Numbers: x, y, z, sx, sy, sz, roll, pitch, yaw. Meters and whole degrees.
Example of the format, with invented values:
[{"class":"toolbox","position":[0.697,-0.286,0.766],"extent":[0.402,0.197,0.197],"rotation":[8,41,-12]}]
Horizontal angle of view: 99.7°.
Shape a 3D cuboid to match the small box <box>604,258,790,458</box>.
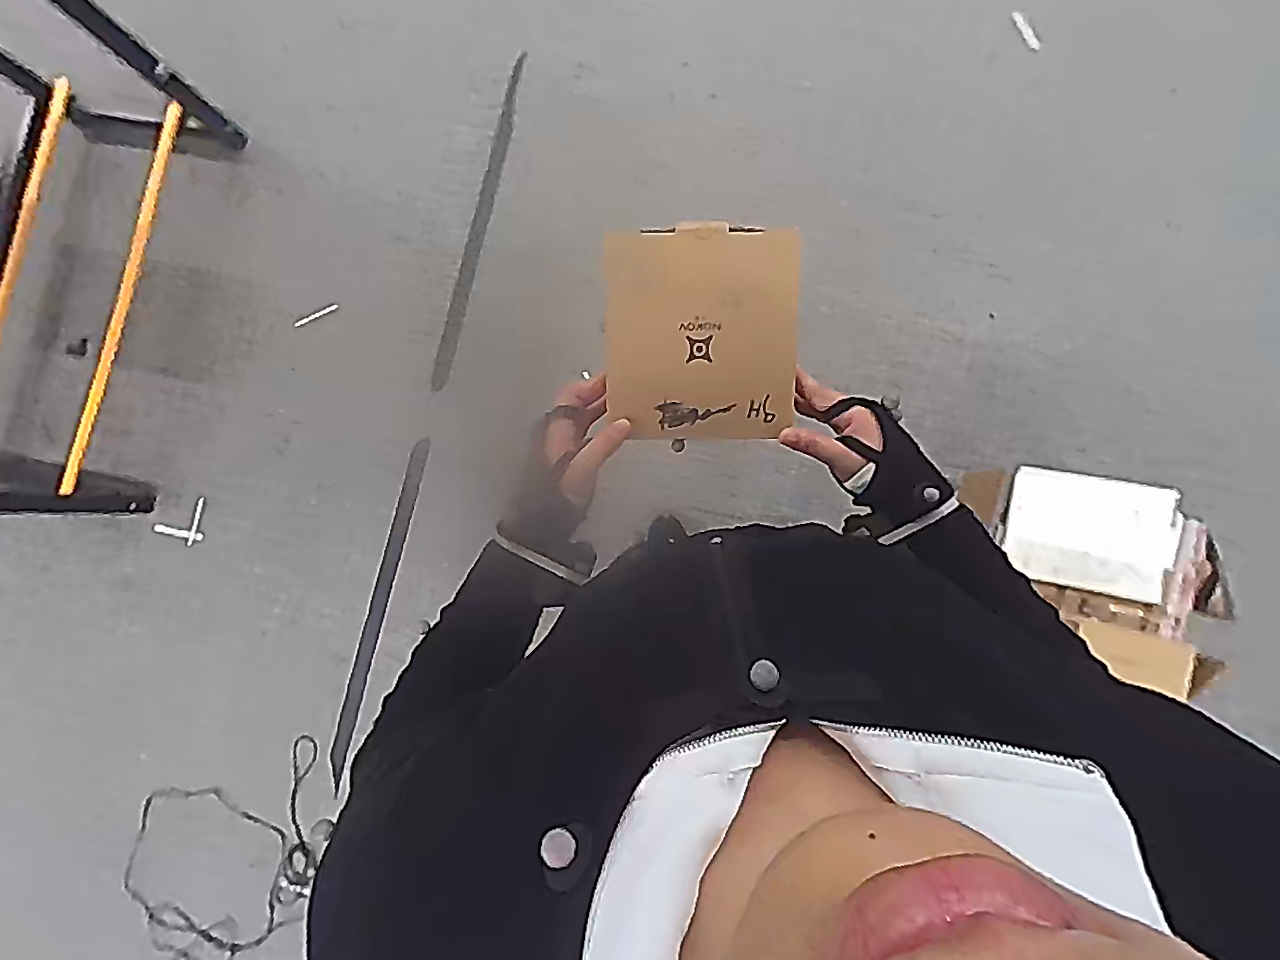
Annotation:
[{"class":"small box","position":[0.050,-0.122,0.561],"extent":[0.168,0.176,0.179],"rotation":[-1,103,1]}]
